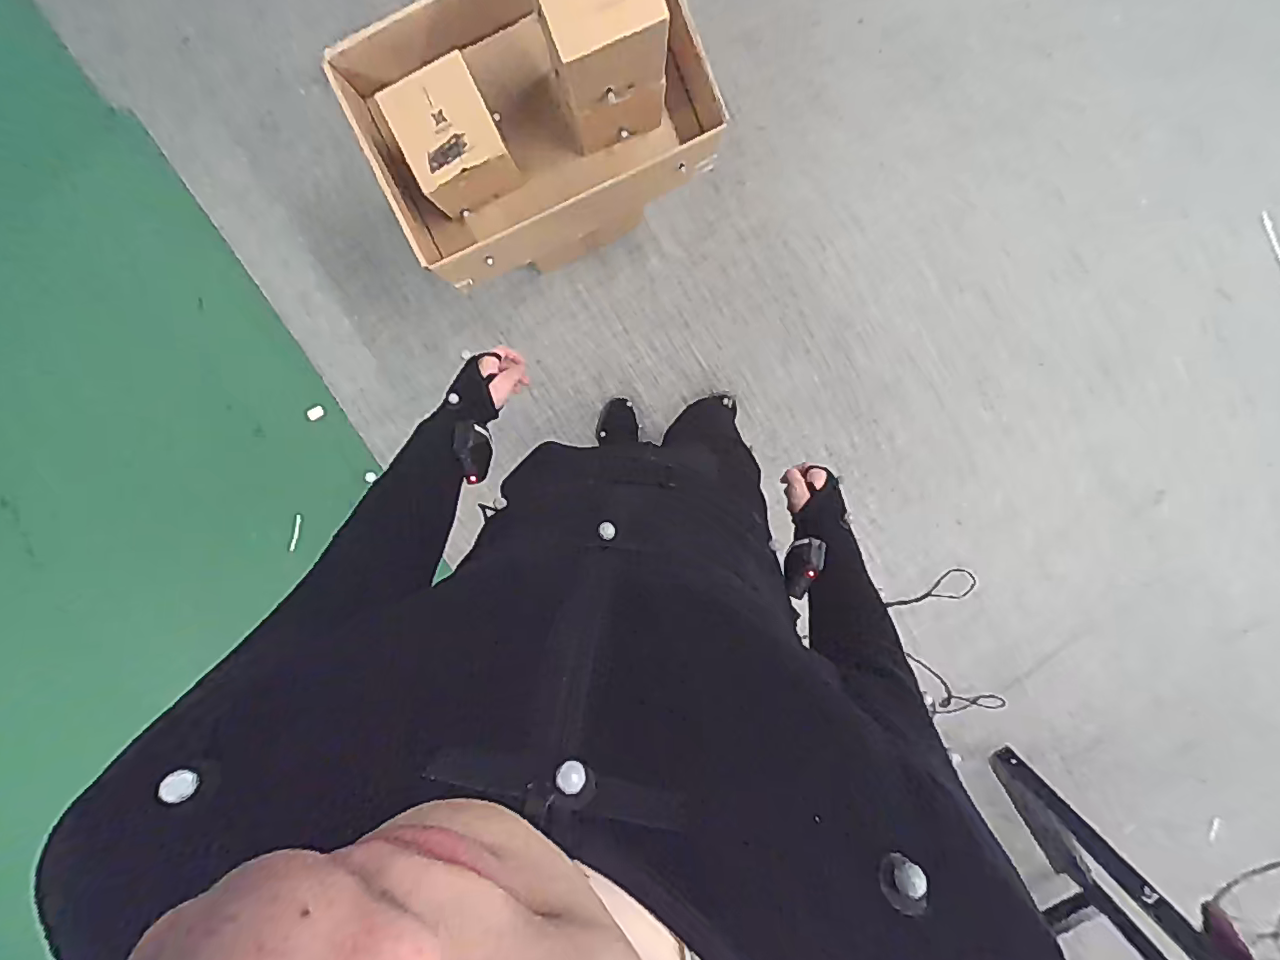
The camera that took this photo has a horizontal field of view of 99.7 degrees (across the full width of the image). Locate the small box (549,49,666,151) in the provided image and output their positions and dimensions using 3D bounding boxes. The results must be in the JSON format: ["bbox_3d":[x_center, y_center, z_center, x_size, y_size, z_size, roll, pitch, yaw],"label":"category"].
[{"bbox_3d":[-0.063,-0.738,0.971,0.168,0.176,0.179,-20,100,3],"label":"small box"}]

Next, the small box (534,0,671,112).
[{"bbox_3d":[-0.064,-0.706,0.811,0.168,0.176,0.179,-21,100,3],"label":"small box"}]
